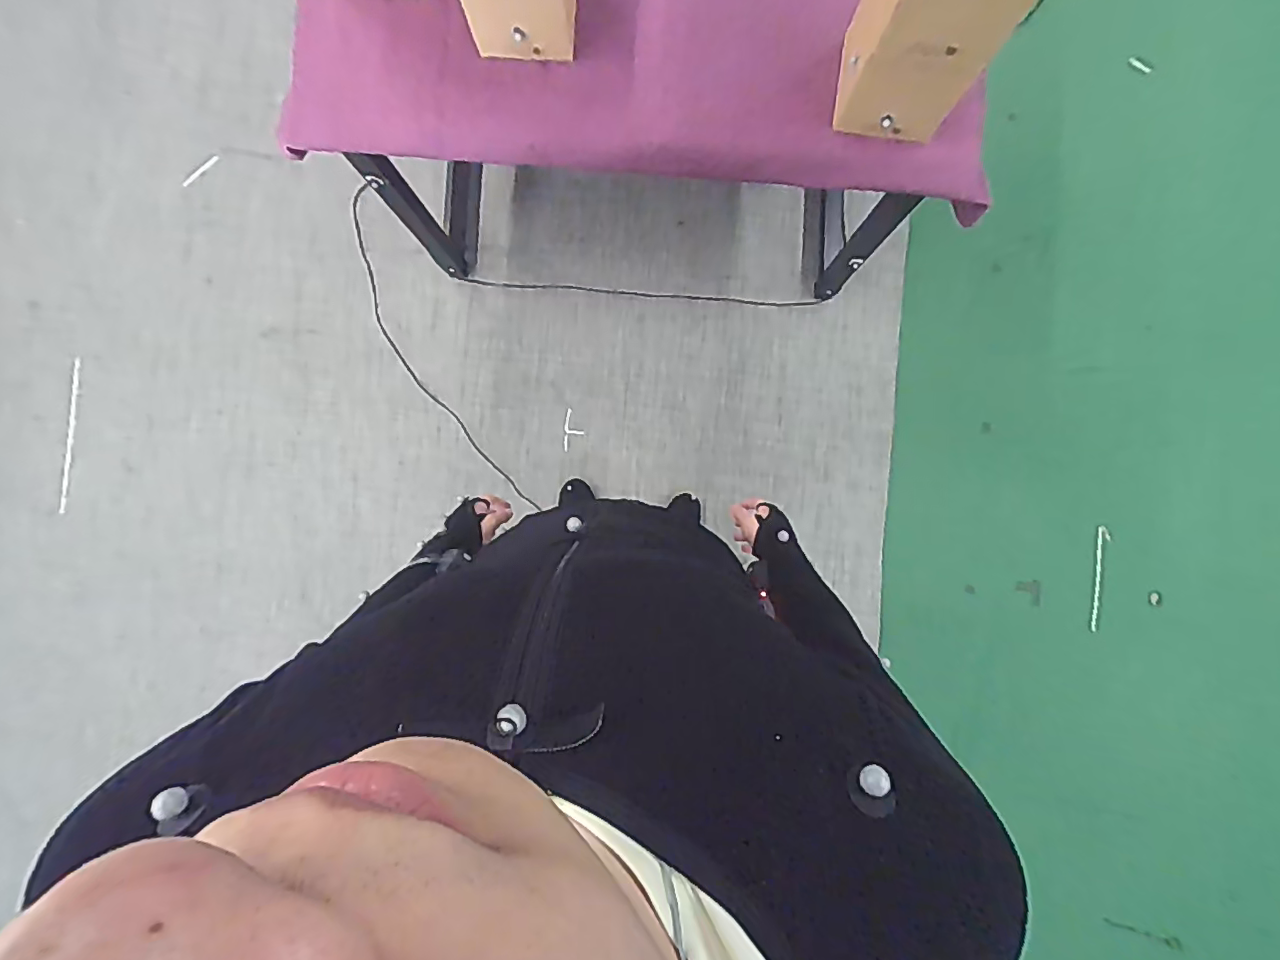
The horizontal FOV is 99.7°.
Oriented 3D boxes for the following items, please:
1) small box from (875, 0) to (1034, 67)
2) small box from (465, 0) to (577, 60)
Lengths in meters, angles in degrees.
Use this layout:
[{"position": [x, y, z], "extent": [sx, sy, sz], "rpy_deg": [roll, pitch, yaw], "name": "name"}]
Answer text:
[{"position": [0.424, -0.690, 0.697], "extent": [0.168, 0.176, 0.179], "rpy_deg": [9, 87, 2], "name": "small box"}, {"position": [-0.195, -0.830, 0.869], "extent": [0.168, 0.176, 0.179], "rpy_deg": [3, 88, 1], "name": "small box"}]
